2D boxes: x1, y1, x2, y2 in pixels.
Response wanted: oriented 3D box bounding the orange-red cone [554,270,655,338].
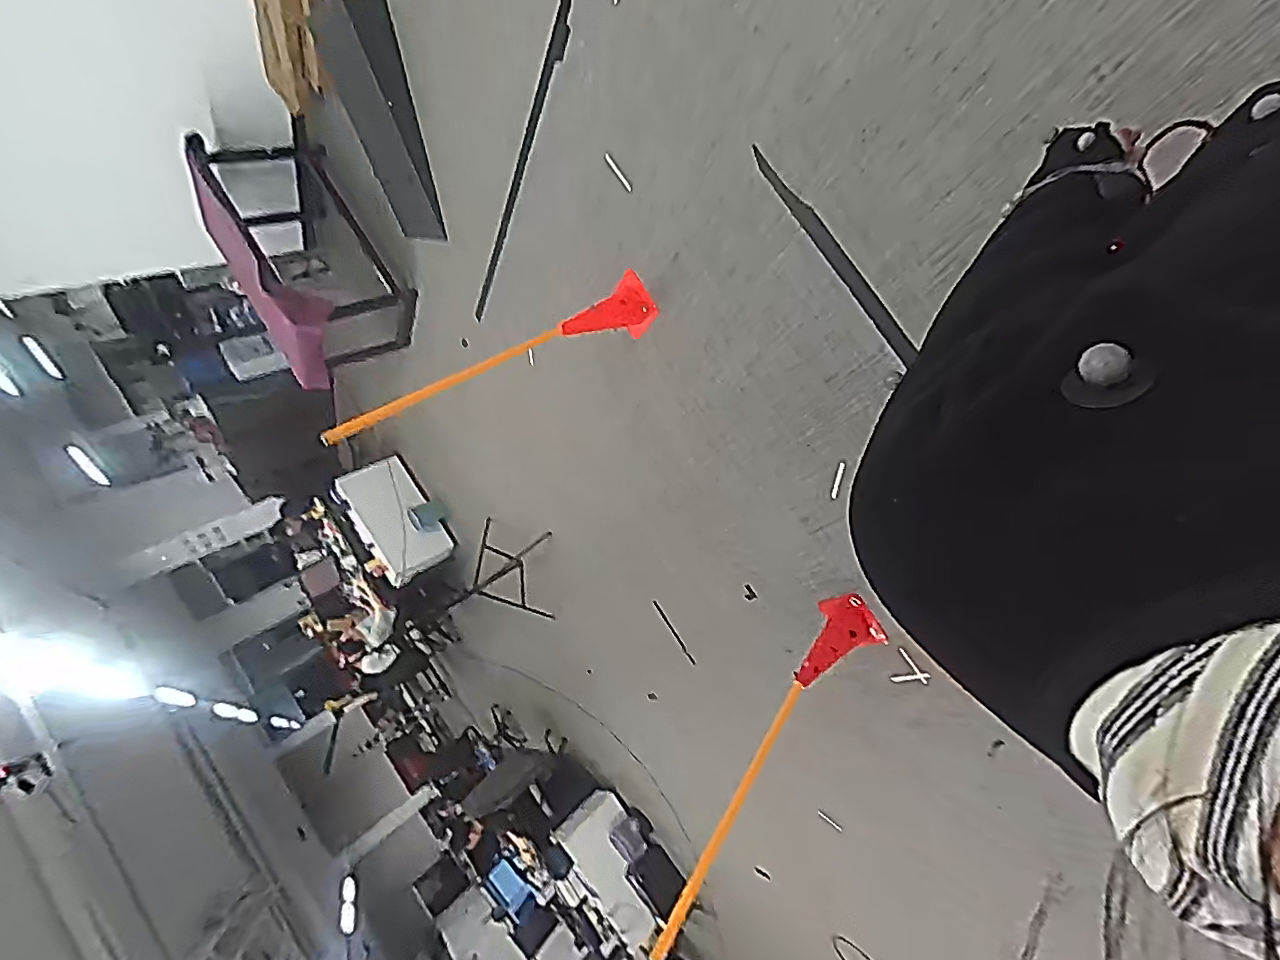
[{"bbox_3d":[-0.157,-0.588,1.936,0.199,0.360,0.198,58,145,2],"label":"orange-red cone"}]
